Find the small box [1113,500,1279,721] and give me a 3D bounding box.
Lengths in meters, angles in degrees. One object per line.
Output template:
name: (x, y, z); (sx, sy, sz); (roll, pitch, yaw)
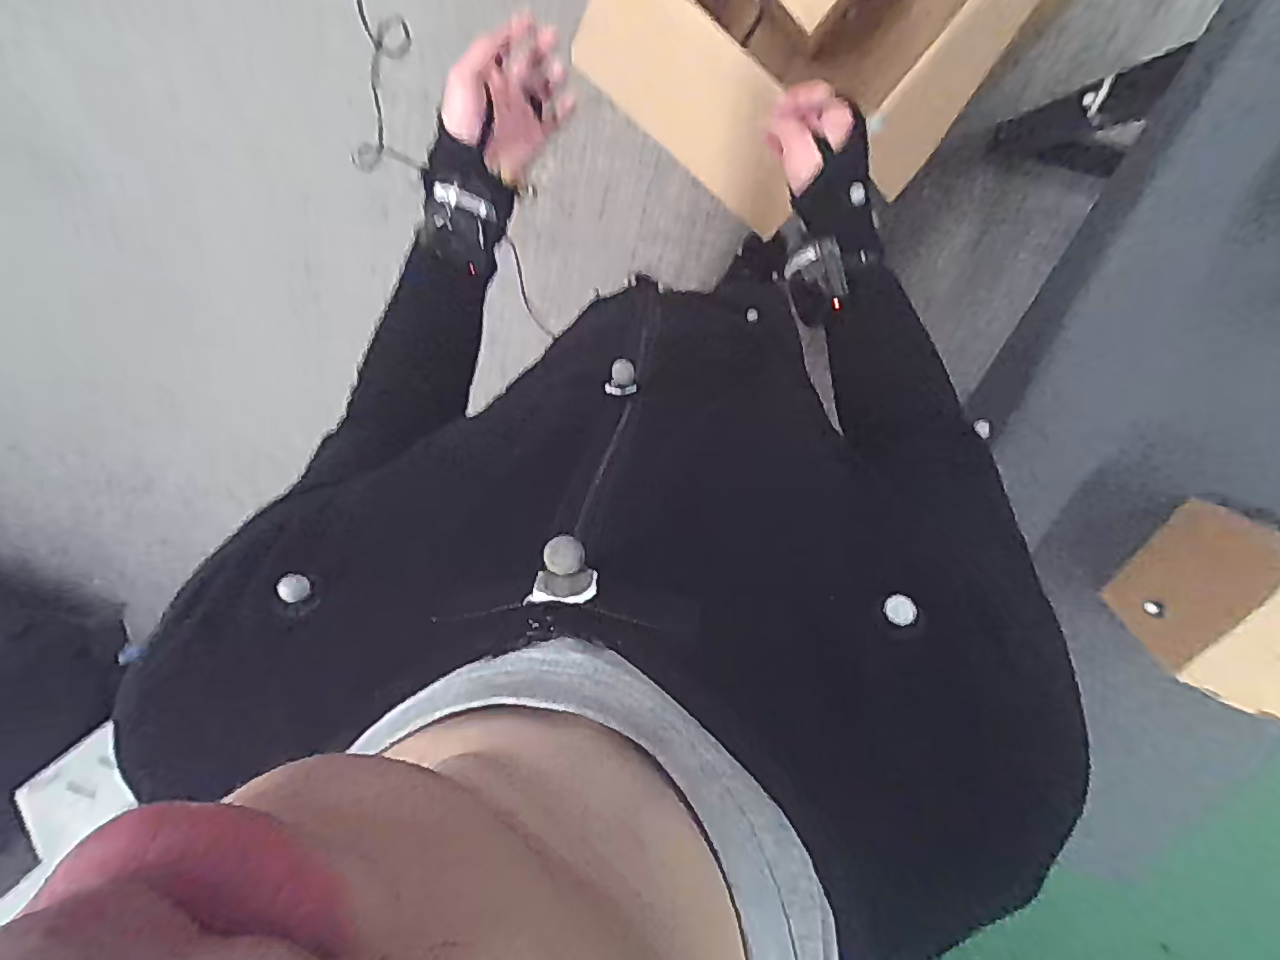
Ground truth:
small box: (0.733, 0.154, 0.652); (0.168, 0.176, 0.179); (21, 117, 2)
